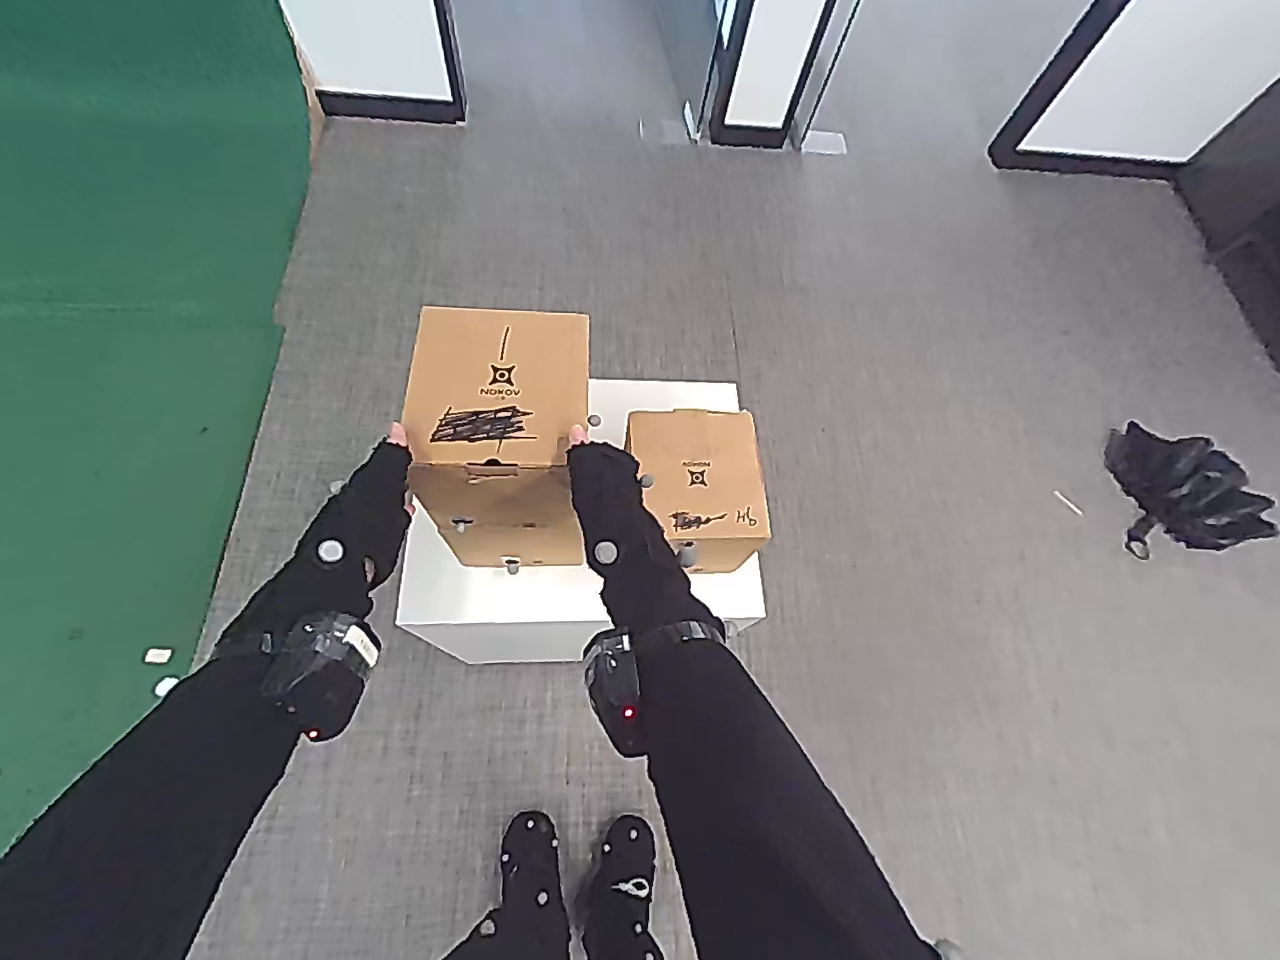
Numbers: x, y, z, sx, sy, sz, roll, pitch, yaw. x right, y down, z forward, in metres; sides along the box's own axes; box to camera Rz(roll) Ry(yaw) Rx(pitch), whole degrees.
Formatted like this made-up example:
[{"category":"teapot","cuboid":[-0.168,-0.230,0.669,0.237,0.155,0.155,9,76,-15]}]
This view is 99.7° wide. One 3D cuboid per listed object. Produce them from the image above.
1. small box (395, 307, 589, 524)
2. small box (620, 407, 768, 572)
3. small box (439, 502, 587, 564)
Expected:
[{"category":"small box","cuboid":[-0.140,-0.058,0.579,0.168,0.176,0.179,1,65,-6]},{"category":"small box","cuboid":[0.061,0.019,0.745,0.168,0.176,0.179,0,66,-7]},{"category":"small box","cuboid":[-0.156,0.004,0.713,0.168,0.176,0.179,-2,68,-7]}]
